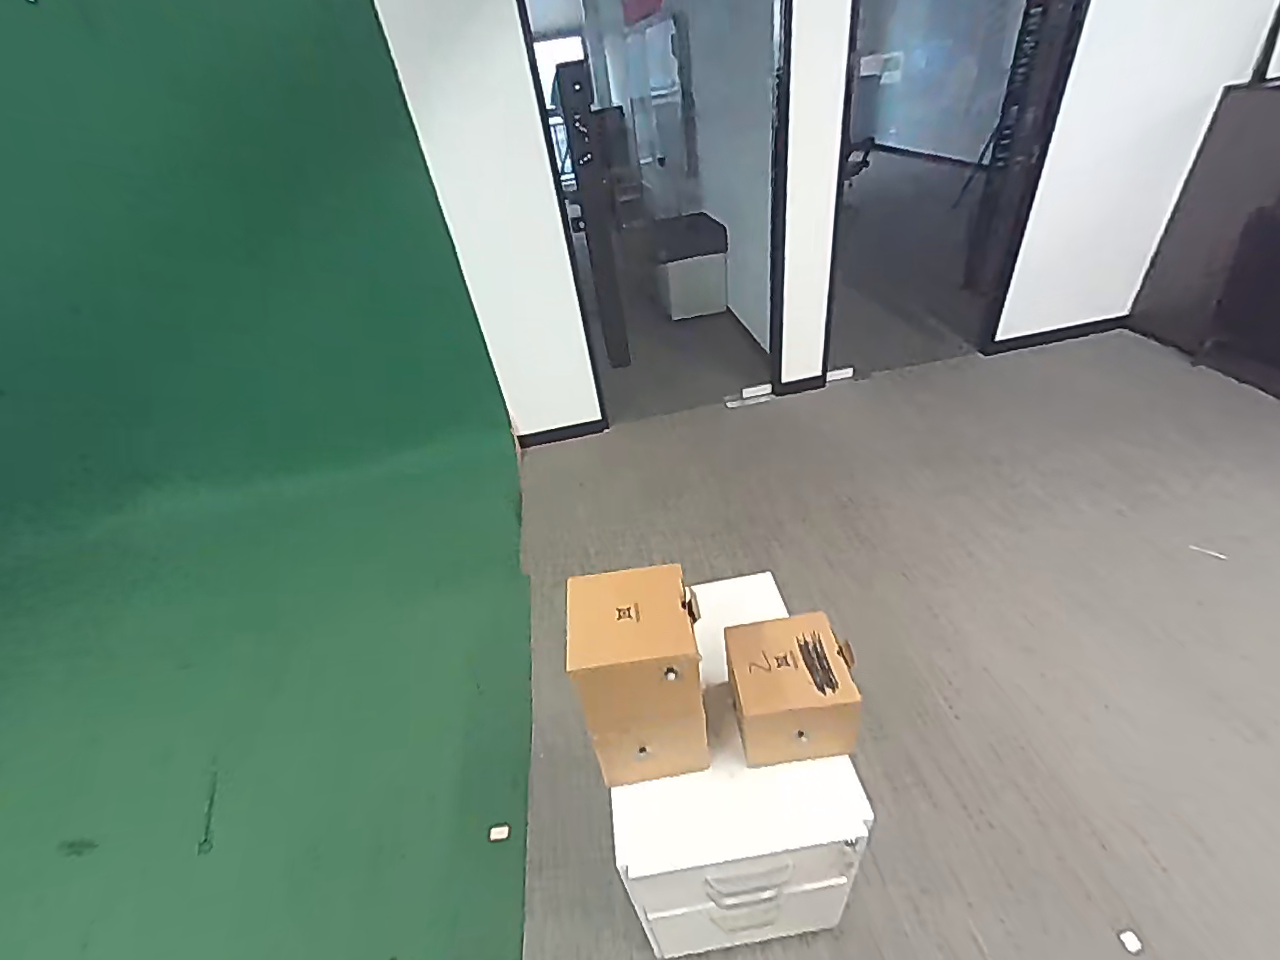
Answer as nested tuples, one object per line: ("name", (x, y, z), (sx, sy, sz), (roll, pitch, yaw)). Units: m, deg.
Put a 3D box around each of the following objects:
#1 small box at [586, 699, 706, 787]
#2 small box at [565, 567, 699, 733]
("small box", (0.008, 0.388, 0.909), (0.179, 0.176, 0.168), (-9, 37, -2))
("small box", (-0.011, 0.257, 0.814), (0.179, 0.176, 0.168), (-7, 36, -2))
